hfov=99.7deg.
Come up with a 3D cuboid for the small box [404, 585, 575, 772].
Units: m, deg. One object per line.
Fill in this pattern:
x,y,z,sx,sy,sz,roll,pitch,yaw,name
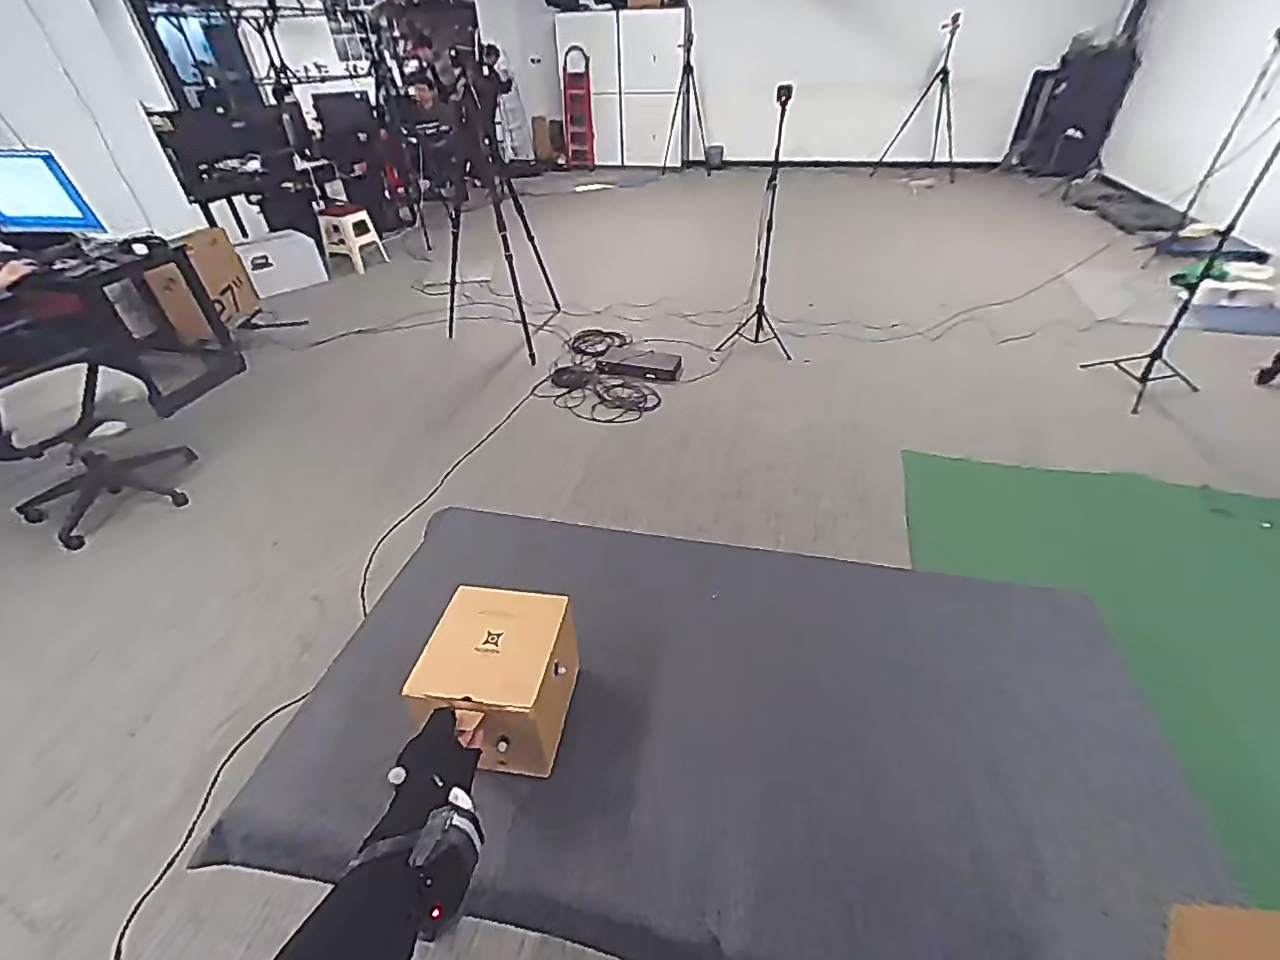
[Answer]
-0.190,0.274,0.749,0.168,0.176,0.179,5,36,6,small box
